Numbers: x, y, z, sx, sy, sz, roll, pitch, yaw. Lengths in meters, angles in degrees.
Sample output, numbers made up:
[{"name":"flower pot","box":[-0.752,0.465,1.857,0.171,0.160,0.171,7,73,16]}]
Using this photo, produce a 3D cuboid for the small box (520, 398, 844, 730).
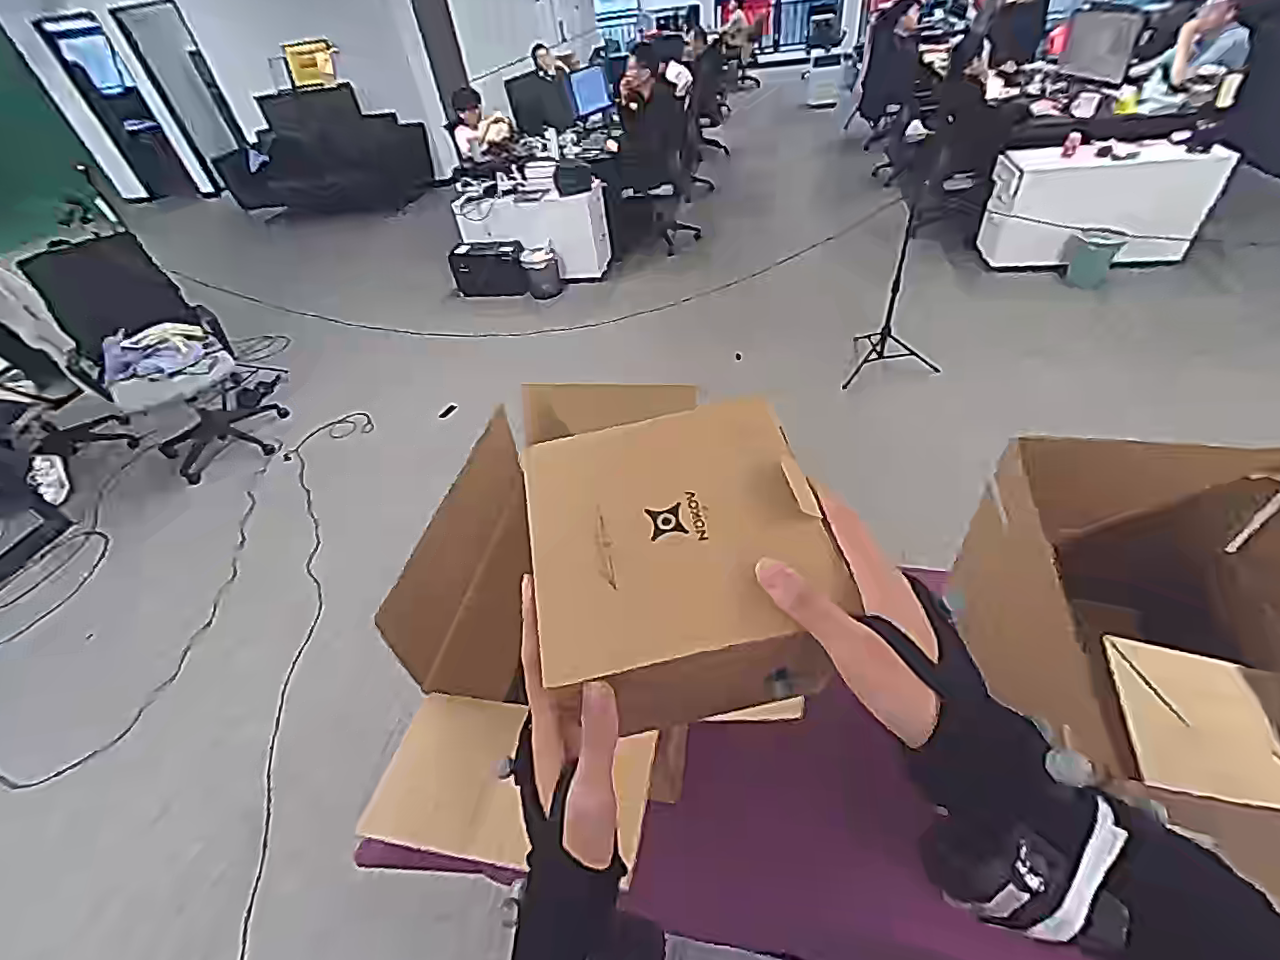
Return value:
[{"name":"small box","box":[0.023,0.069,0.400,0.179,0.176,0.168,-13,54,0]}]
